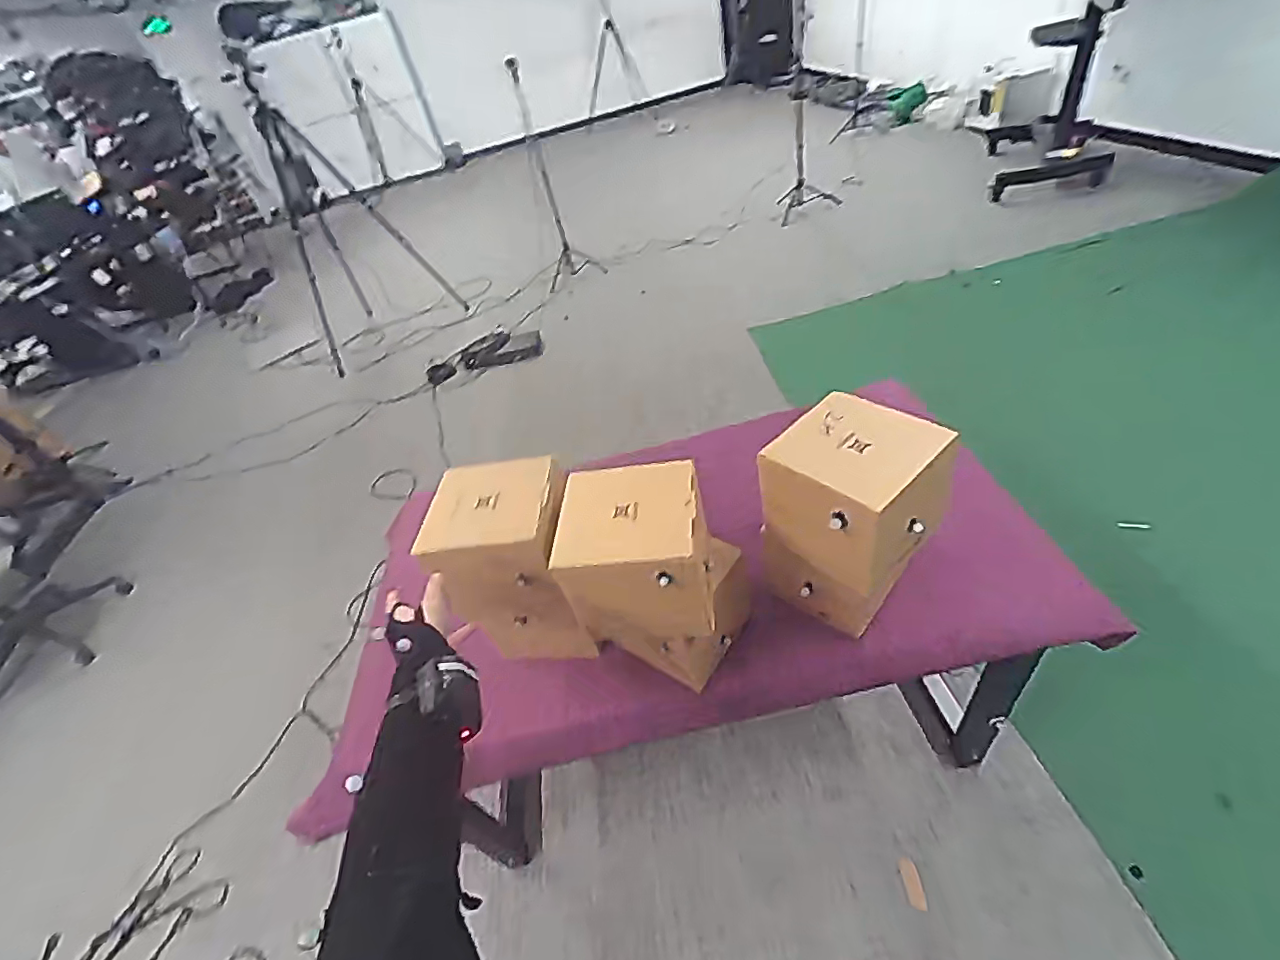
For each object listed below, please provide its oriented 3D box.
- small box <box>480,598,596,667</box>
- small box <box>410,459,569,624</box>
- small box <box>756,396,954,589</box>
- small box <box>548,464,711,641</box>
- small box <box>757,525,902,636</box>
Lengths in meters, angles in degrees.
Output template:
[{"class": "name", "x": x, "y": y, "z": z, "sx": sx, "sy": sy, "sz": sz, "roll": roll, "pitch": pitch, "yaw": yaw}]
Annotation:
[{"class": "small box", "x": -0.166, "y": 0.201, "z": 0.923, "sx": 0.179, "sy": 0.176, "sz": 0.168, "roll": 1, "pitch": 43, "yaw": 10}, {"class": "small box", "x": -0.196, "y": 0.094, "z": 0.798, "sx": 0.179, "sy": 0.176, "sz": 0.168, "roll": -8, "pitch": 42, "yaw": 9}, {"class": "small box", "x": 0.281, "y": 0.020, "z": 0.726, "sx": 0.168, "sy": 0.176, "sz": 0.179, "roll": -37, "pitch": 44, "yaw": -22}, {"class": "small box", "x": -0.004, "y": 0.102, "z": 0.730, "sx": 0.179, "sy": 0.176, "sz": 0.168, "roll": -6, "pitch": 43, "yaw": 10}, {"class": "small box", "x": 0.311, "y": 0.113, "z": 0.865, "sx": 0.168, "sy": 0.176, "sz": 0.179, "roll": 25, "pitch": 56, "yaw": 37}]
